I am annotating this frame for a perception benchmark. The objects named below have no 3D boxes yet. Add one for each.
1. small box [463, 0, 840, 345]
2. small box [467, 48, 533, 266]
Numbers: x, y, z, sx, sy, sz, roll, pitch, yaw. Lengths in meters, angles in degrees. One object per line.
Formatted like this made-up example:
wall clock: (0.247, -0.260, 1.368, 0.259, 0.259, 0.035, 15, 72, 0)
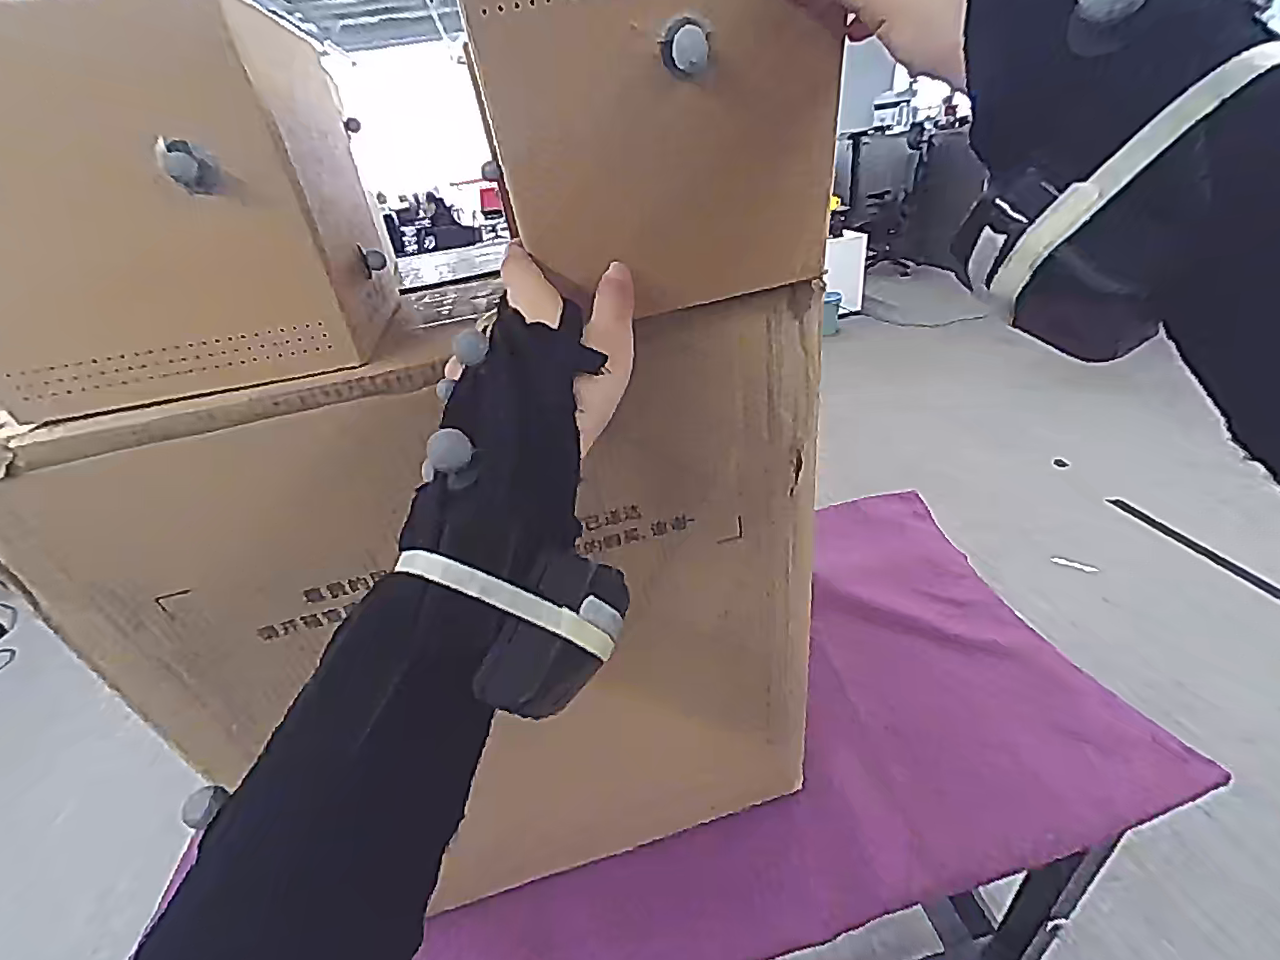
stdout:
small box: (0.002, -0.207, 0.316, 0.168, 0.176, 0.179, -14, 41, -4)
small box: (-0.052, -0.328, 0.541, 0.179, 0.176, 0.168, -12, 32, -2)
